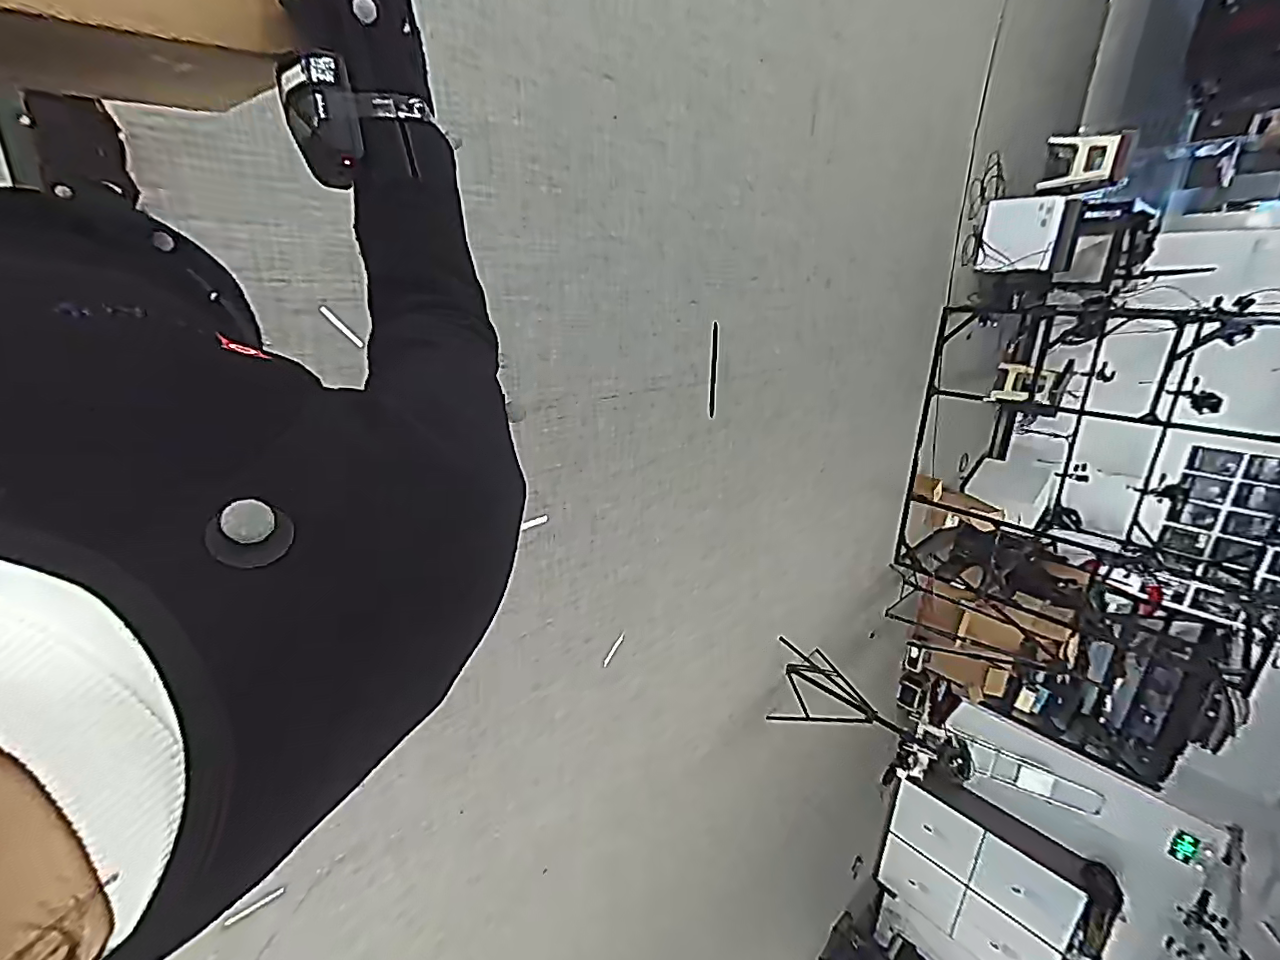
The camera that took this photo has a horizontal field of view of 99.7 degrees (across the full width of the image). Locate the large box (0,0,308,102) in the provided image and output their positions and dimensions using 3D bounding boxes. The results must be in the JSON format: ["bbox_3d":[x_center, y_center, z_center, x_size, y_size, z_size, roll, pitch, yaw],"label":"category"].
[{"bbox_3d":[-0.460,-0.407,0.260,0.408,0.320,0.320,-22,126,-39],"label":"large box"}]
